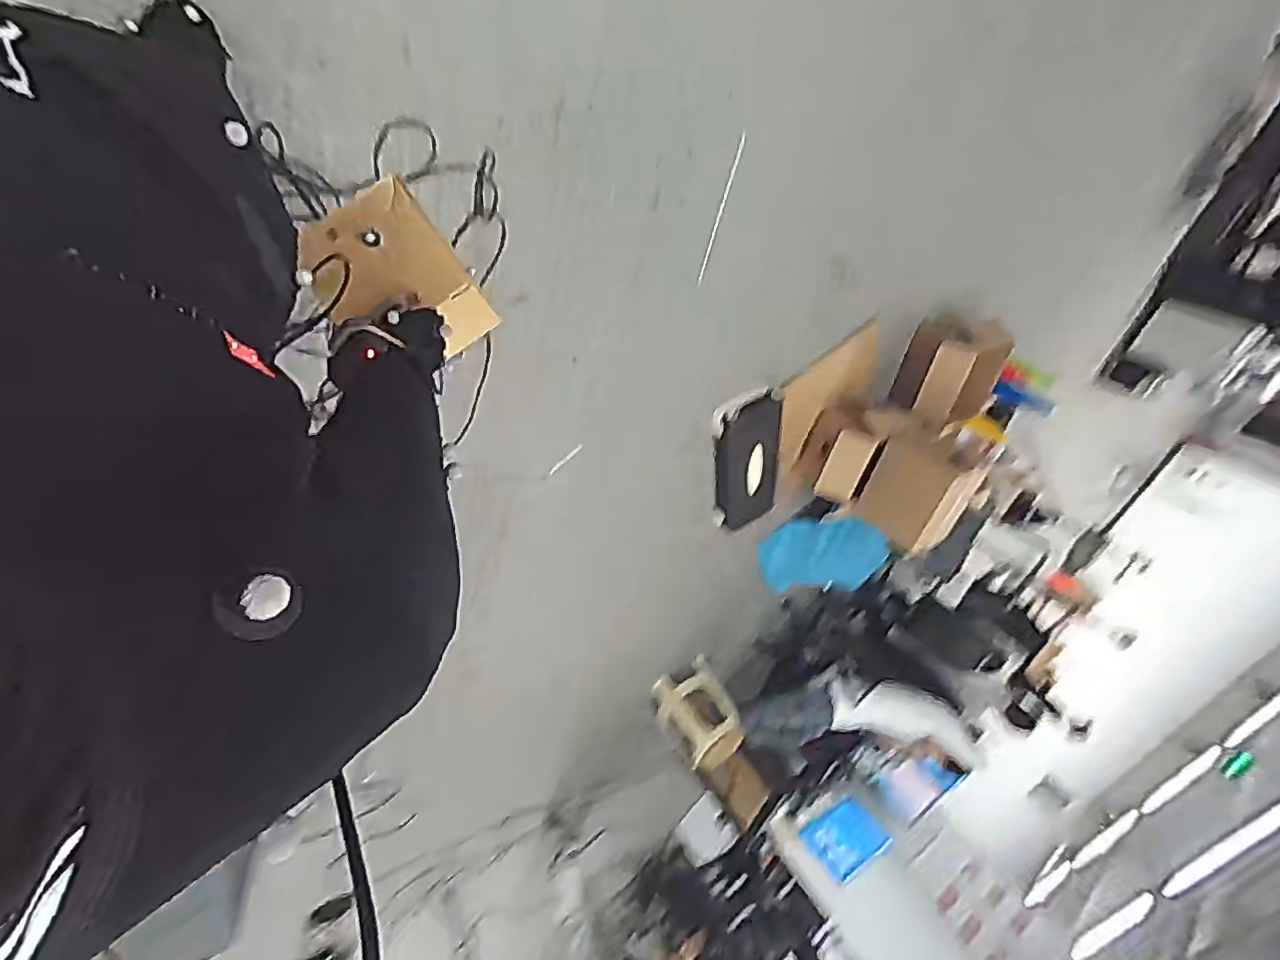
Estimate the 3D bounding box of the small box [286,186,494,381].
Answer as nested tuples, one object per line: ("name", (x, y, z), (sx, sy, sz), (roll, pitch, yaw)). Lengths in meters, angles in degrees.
("small box", (-0.332, -0.262, 0.748), (0.168, 0.176, 0.179), (-33, -177, -2))
